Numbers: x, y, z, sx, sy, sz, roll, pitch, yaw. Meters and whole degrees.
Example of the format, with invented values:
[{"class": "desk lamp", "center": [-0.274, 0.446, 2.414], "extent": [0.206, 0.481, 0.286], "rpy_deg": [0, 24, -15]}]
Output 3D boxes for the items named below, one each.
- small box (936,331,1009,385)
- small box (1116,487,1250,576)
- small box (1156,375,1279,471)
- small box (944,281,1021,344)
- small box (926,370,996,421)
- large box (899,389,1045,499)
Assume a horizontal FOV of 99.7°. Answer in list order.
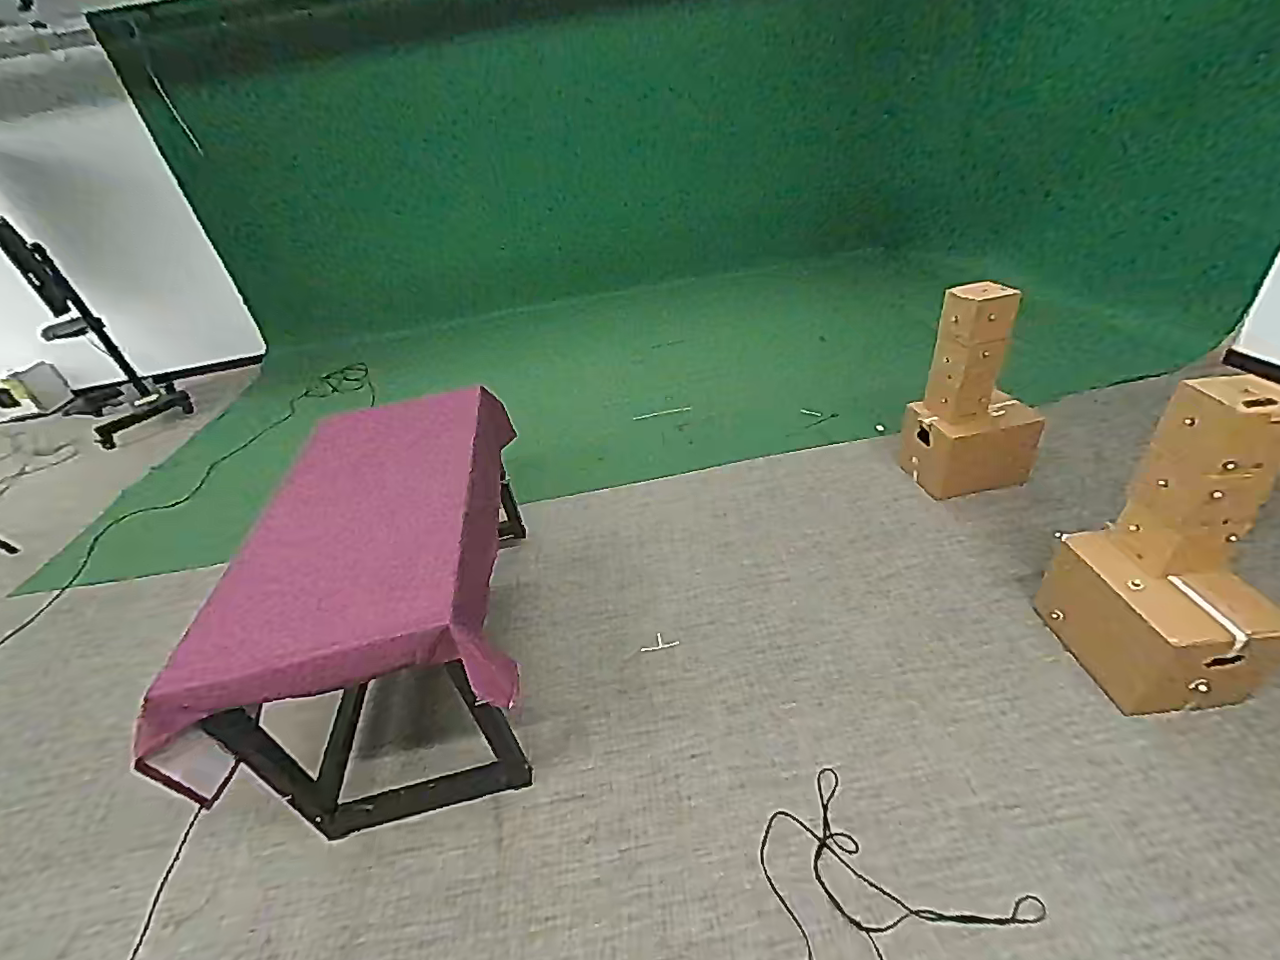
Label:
[{"class": "small box", "center": [1.277, -0.484, 2.093], "extent": [0.179, 0.176, 0.168], "rpy_deg": [-14, 35, -8]}, {"class": "small box", "center": [1.442, 0.141, 1.457], "extent": [0.179, 0.176, 0.168], "rpy_deg": [-6, 35, 2]}, {"class": "small box", "center": [1.397, -0.131, 1.277], "extent": [0.168, 0.176, 0.179], "rpy_deg": [-4, 34, 5]}, {"class": "small box", "center": [1.254, -0.616, 1.998], "extent": [0.179, 0.176, 0.168], "rpy_deg": [-13, 35, -5]}, {"class": "small box", "center": [1.292, -0.350, 2.186], "extent": [0.168, 0.176, 0.179], "rpy_deg": [-12, 34, -4]}, {"class": "large box", "center": [1.396, -0.157, 2.315], "extent": [0.408, 0.320, 0.320], "rpy_deg": [-11, 35, -3]}]
